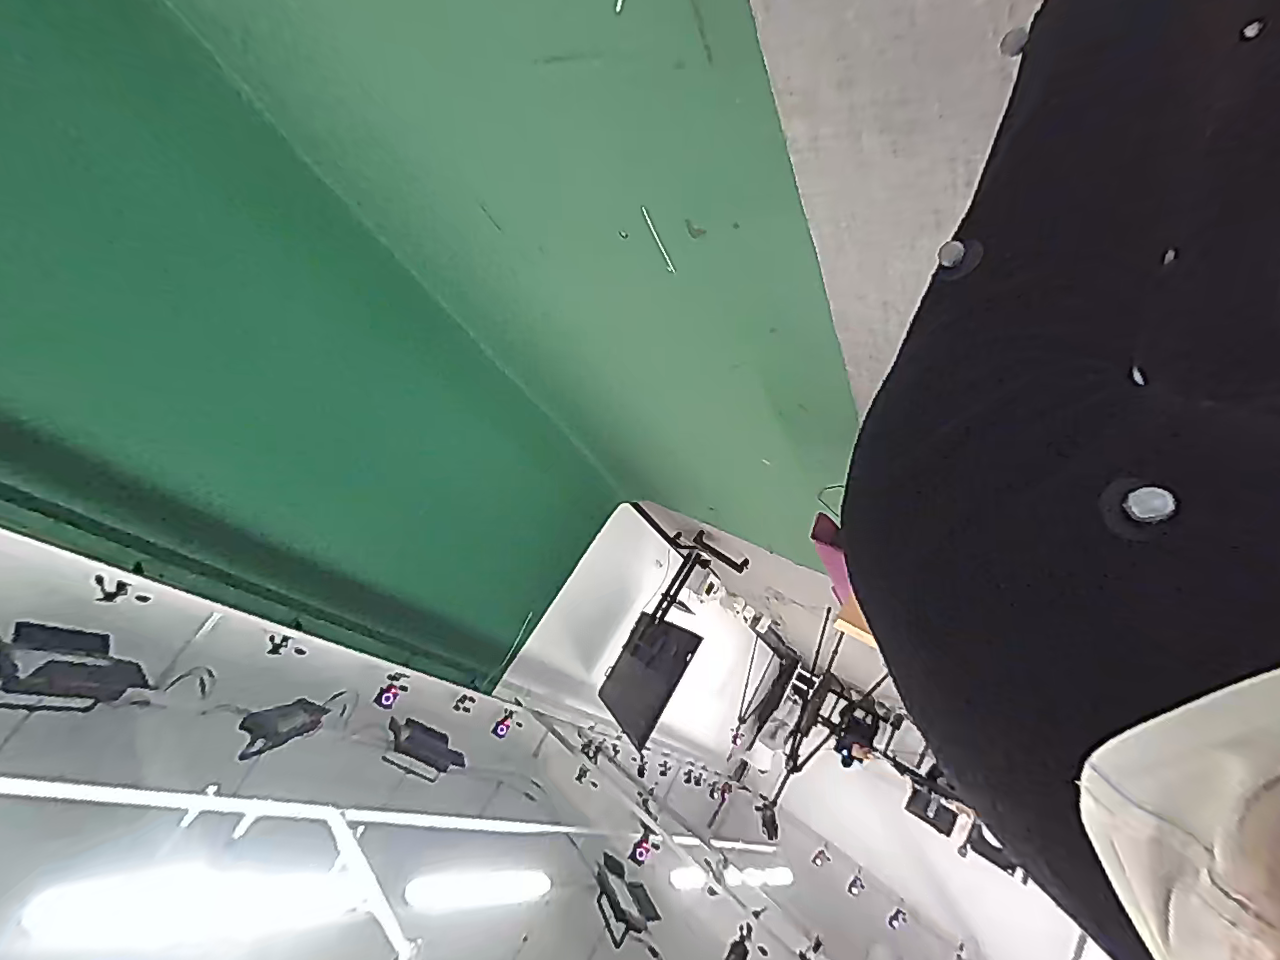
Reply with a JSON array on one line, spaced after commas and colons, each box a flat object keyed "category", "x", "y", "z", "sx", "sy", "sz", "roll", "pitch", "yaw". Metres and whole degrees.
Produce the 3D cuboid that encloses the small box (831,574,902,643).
[{"category": "small box", "x": 0.778, "y": 0.440, "z": 1.861, "sx": 0.168, "sy": 0.176, "sz": 0.179, "roll": 25, "pitch": 166, "yaw": 21}]
